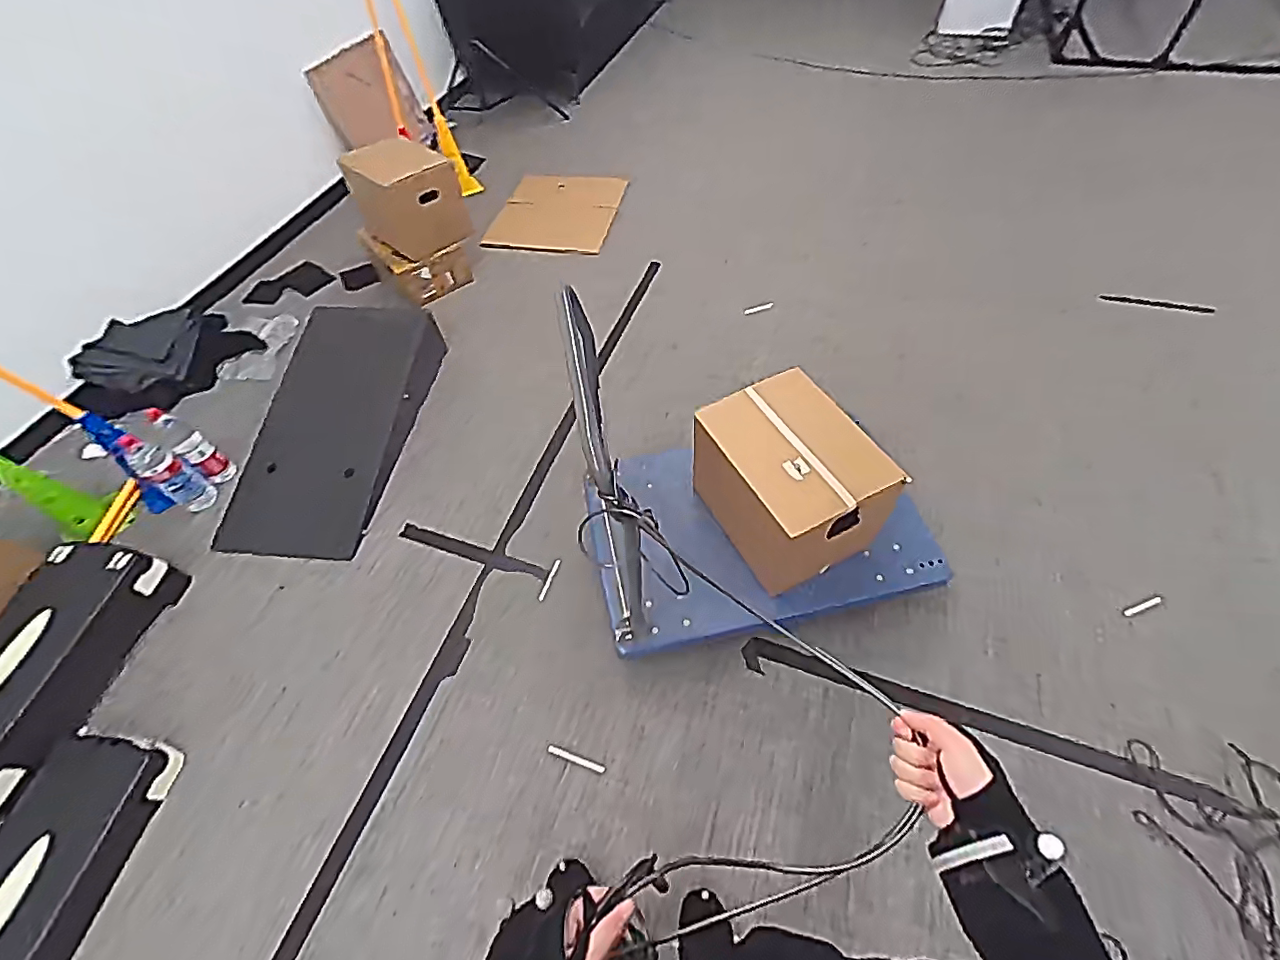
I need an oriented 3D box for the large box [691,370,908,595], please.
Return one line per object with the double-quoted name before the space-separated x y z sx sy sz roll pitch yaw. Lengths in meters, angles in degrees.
"large box" 0.360 0.005 1.355 0.320 0.320 0.408 -25 58 -12
